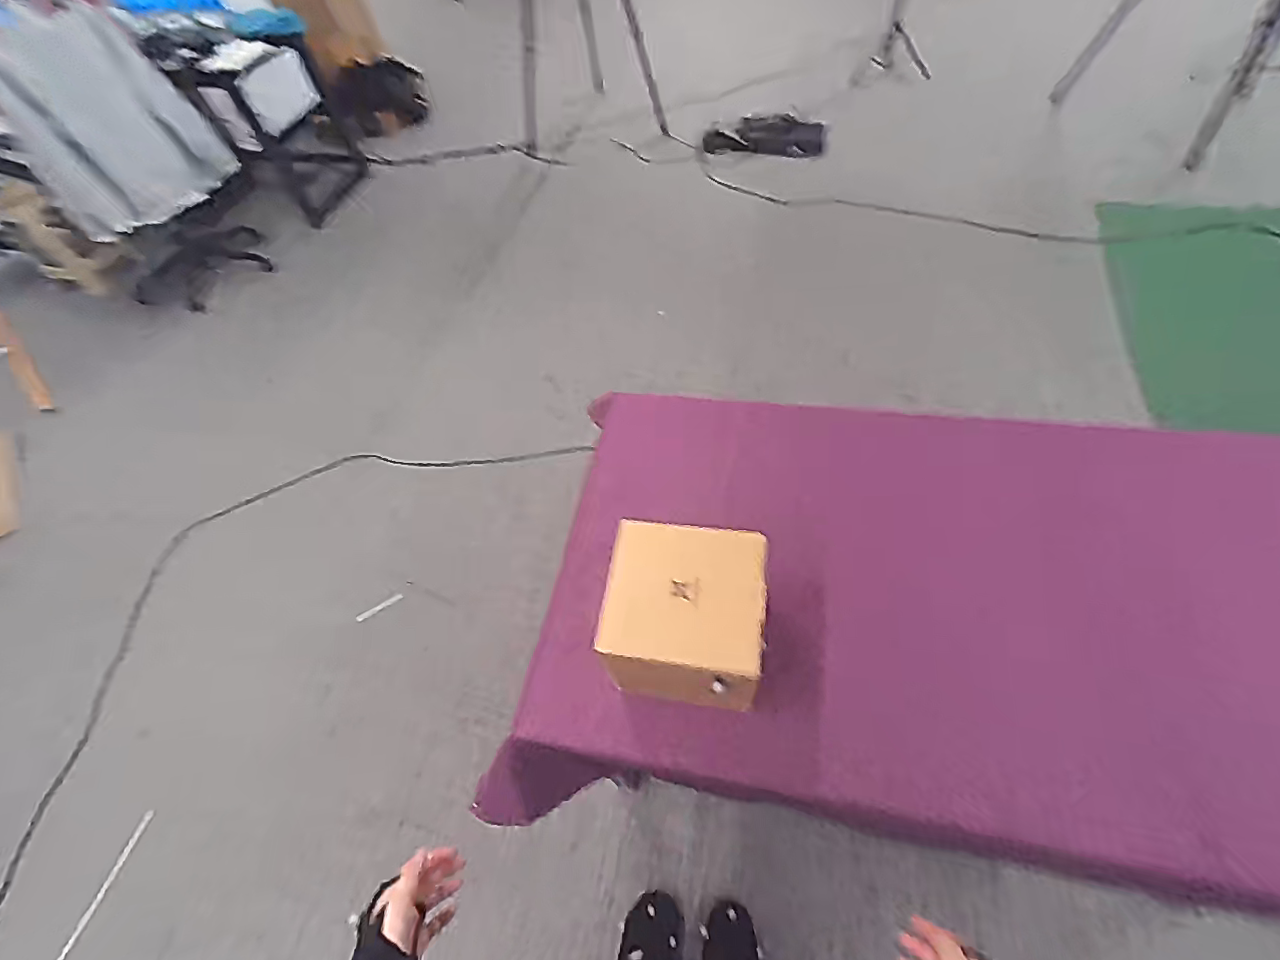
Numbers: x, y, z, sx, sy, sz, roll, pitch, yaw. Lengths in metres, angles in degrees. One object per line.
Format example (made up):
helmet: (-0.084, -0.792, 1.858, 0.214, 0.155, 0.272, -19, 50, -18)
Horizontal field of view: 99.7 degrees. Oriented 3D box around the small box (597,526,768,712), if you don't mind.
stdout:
small box: (0.061, 0.176, 0.673, 0.179, 0.176, 0.168, 5, 55, 11)
